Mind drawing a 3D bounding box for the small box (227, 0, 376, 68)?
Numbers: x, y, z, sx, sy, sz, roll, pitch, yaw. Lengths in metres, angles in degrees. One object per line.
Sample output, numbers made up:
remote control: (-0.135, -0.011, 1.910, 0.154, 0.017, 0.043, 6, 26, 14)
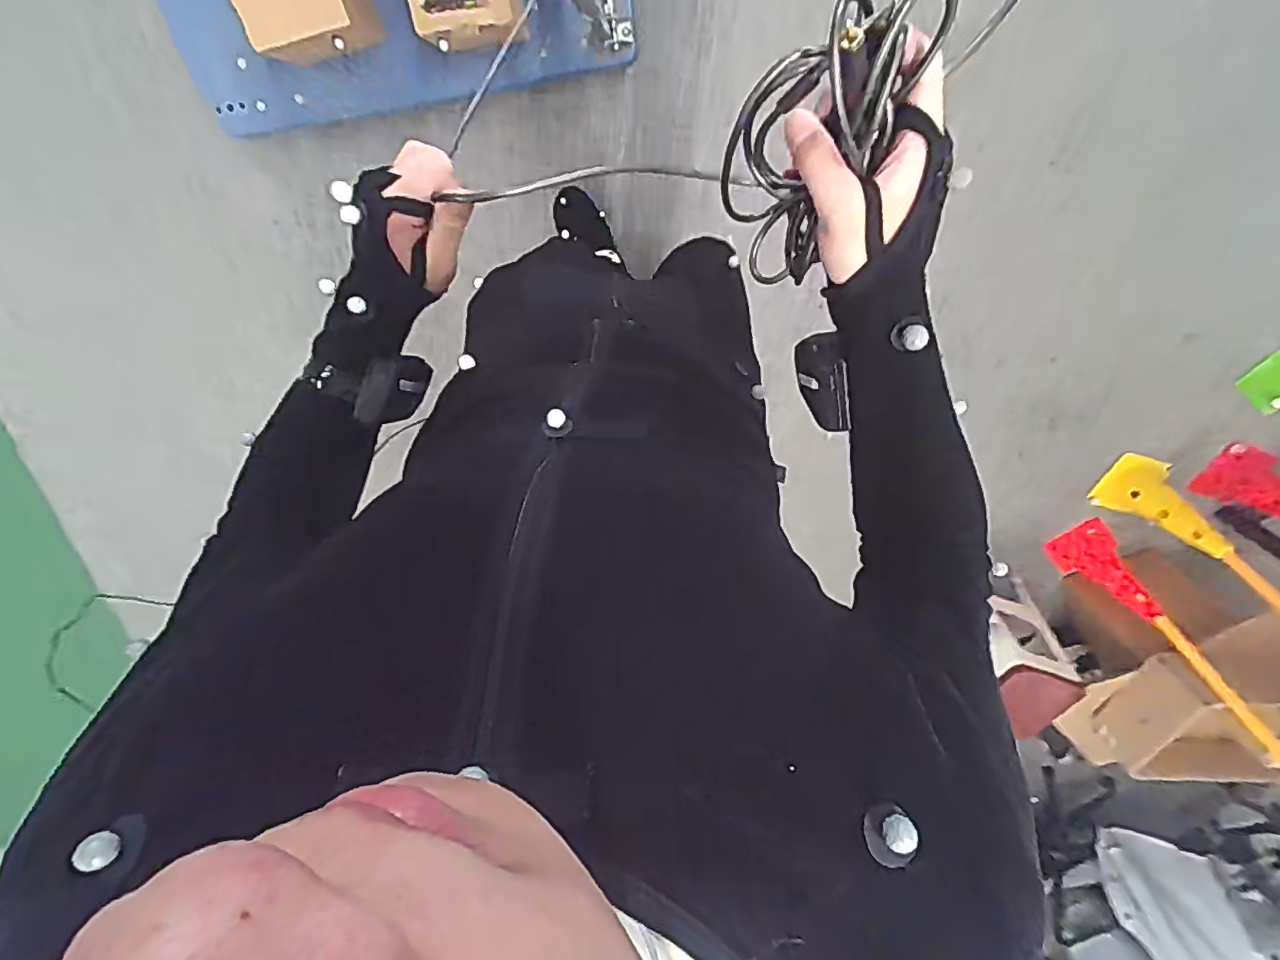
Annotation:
small box: (-0.583, -0.833, 0.926, 0.179, 0.176, 0.168, -11, 121, 5)
